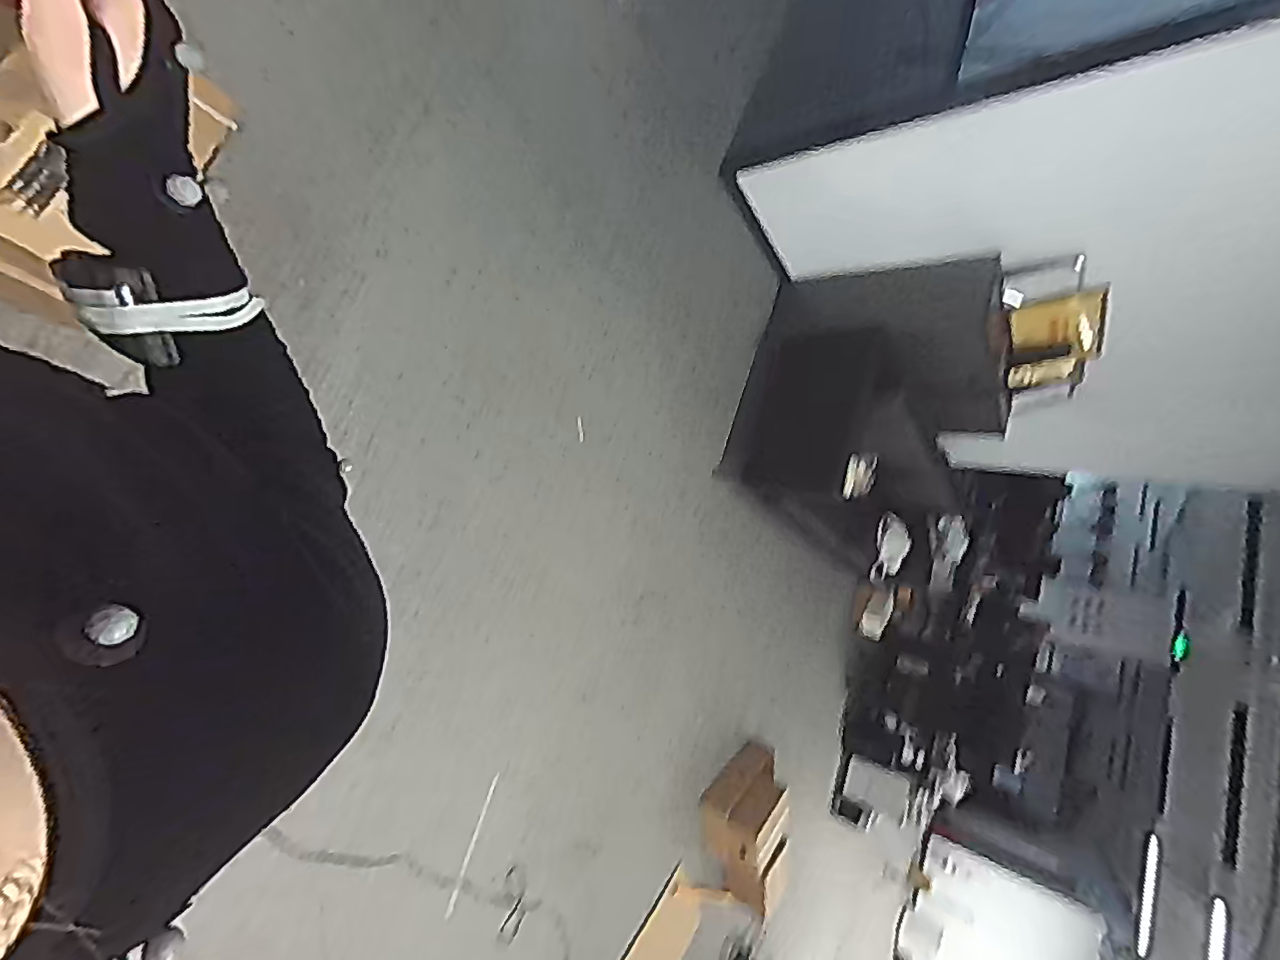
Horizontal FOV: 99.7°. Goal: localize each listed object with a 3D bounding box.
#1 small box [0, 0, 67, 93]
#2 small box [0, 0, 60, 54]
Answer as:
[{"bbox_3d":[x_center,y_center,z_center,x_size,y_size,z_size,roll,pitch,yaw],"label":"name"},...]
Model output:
[{"bbox_3d":[-0.867,-0.646,0.679,0.168,0.176,0.179,33,67,-47],"label":"small box"},{"bbox_3d":[-0.739,-0.620,0.577,0.168,0.176,0.179,36,66,-46],"label":"small box"}]
